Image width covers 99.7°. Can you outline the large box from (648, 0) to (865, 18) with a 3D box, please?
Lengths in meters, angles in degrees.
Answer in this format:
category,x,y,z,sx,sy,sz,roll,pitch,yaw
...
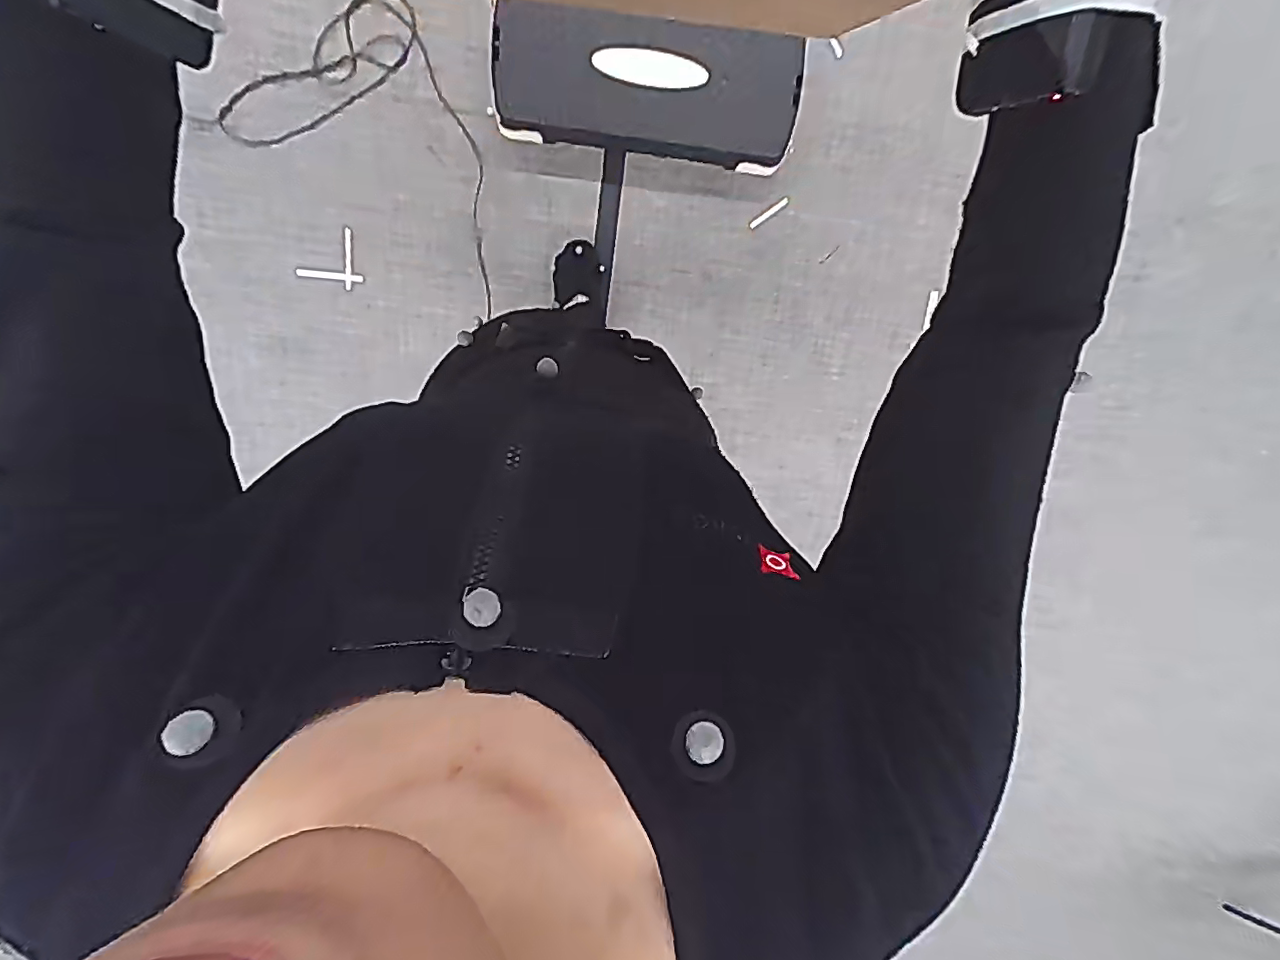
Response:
category,x,y,z,sx,sy,sz,roll,pitch,yaw
large box,0.017,-0.516,0.322,0.408,0.320,0.320,3,124,-5
